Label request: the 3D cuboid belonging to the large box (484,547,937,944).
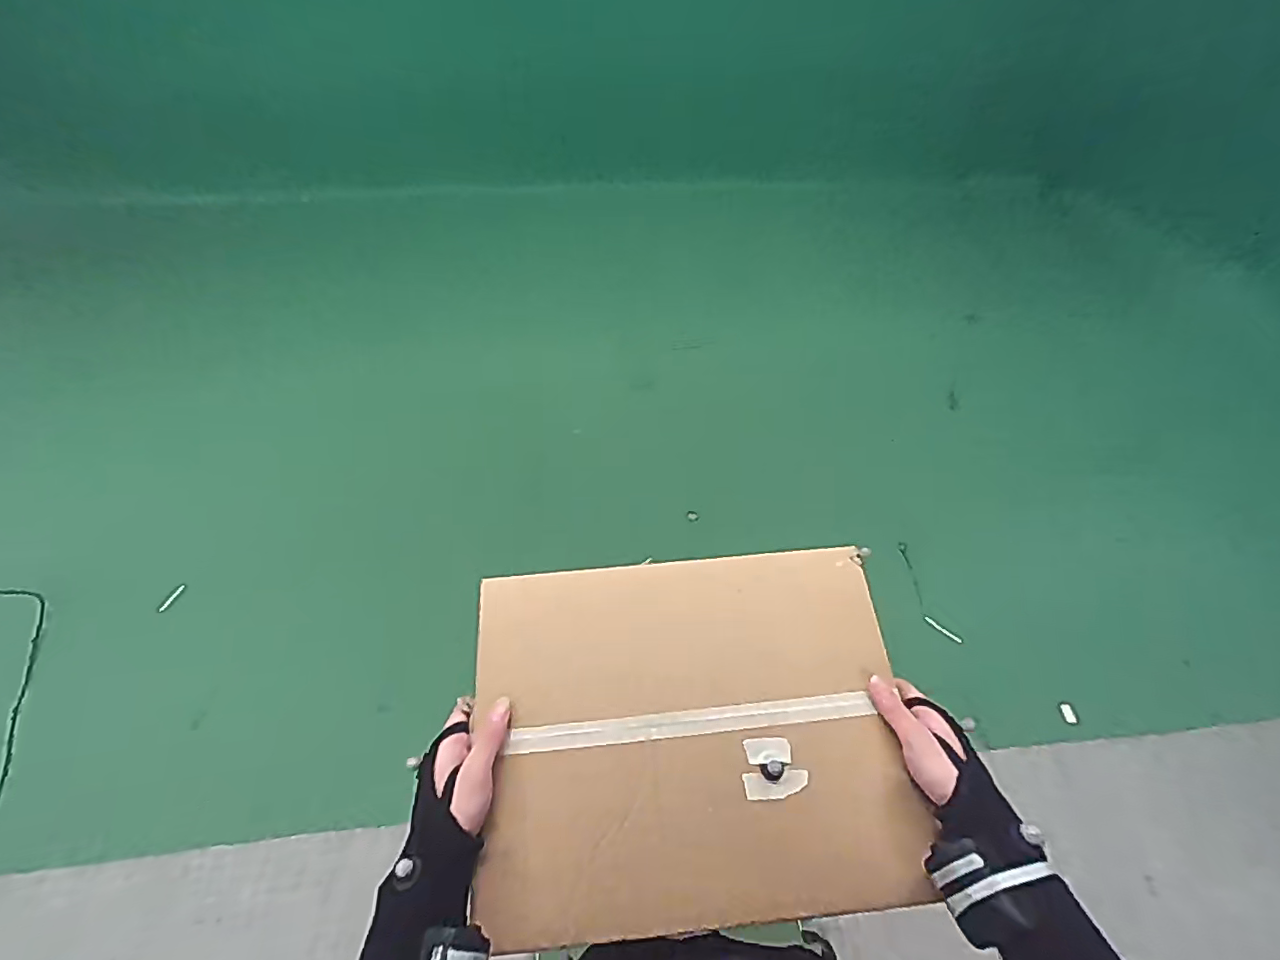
[{"bbox_3d":[0.046,0.297,0.658,0.408,0.320,0.320,-5,64,-4],"label":"large box"}]
